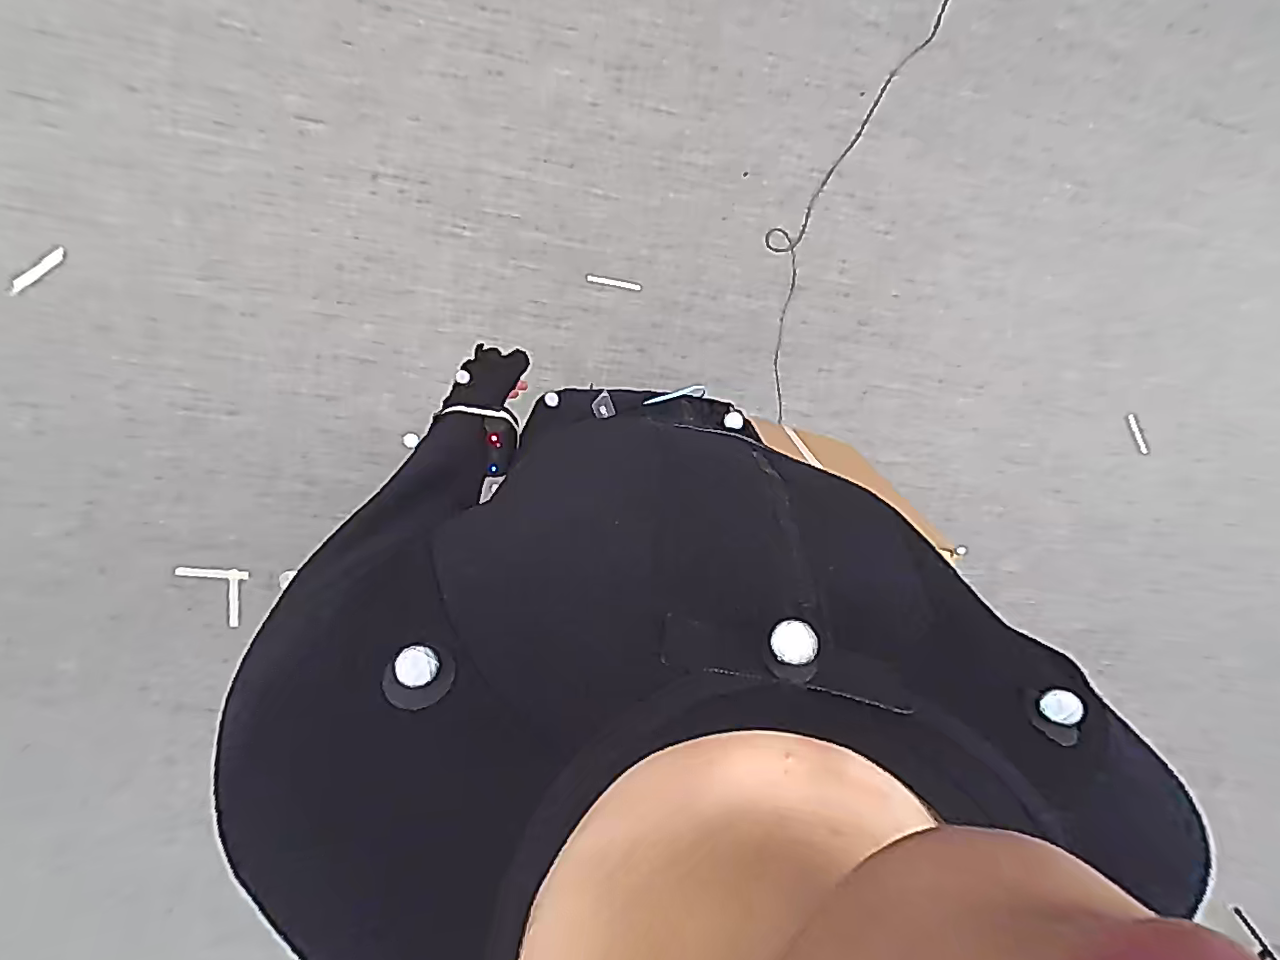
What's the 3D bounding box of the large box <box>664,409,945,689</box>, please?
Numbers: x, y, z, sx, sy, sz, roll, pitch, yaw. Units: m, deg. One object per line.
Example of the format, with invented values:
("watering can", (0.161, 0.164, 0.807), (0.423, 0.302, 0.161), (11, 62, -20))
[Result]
("large box", (0.254, 0.111, 1.016), (0.320, 0.408, 0.320), (12, 117, -11))
